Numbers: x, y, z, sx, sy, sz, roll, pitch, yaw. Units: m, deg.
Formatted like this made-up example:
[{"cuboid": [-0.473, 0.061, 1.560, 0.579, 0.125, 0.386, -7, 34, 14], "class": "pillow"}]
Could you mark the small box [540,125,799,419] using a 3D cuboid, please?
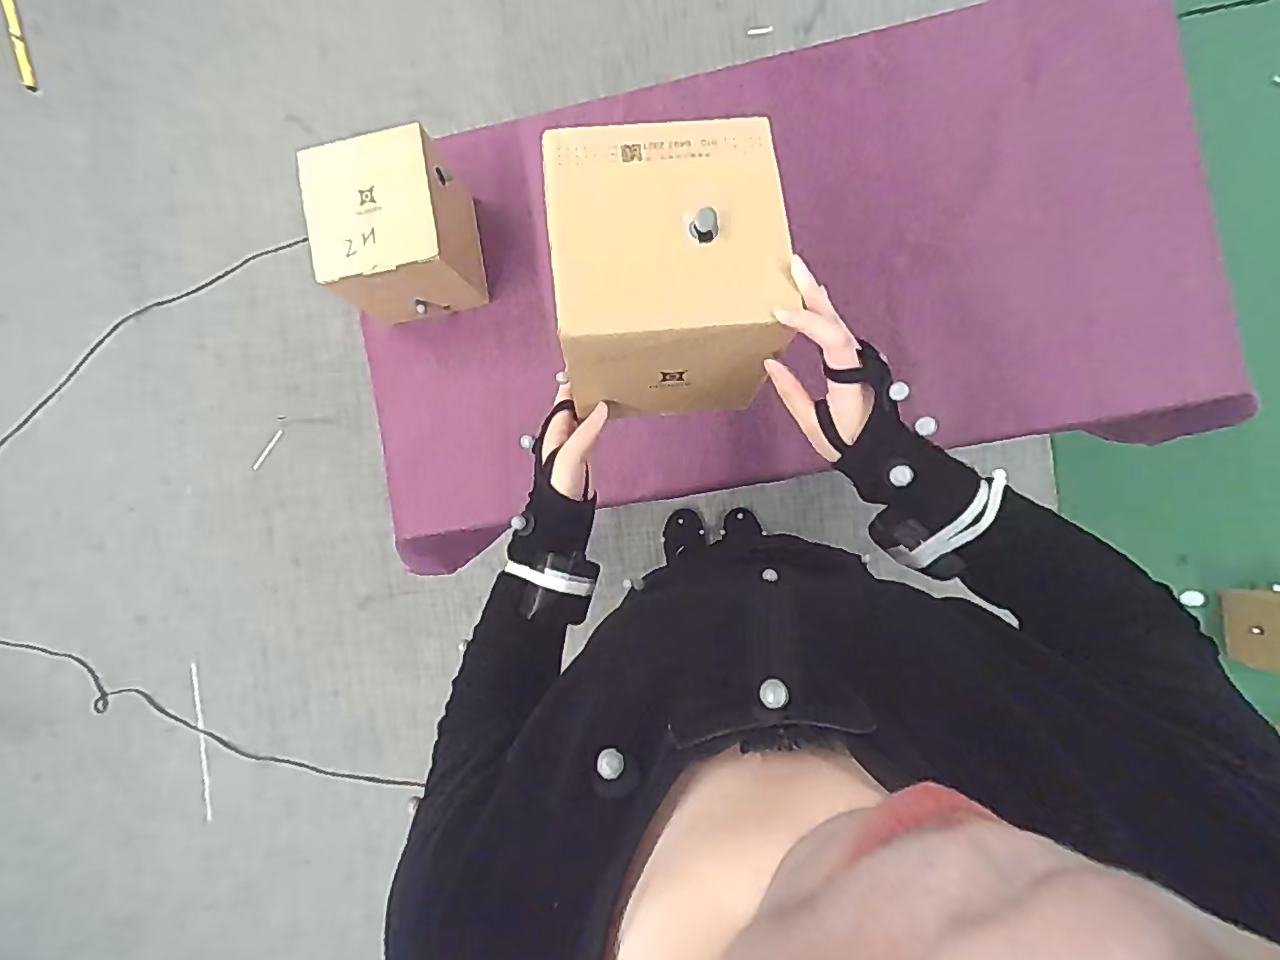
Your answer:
[{"cuboid": [0.014, -0.163, 0.451, 0.168, 0.179, 0.176, -5, 79, -3], "class": "small box"}]

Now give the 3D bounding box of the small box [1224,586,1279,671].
[{"cuboid": [1.552, 0.353, 1.276, 0.168, 0.176, 0.179, -4, 87, 6], "class": "small box"}]

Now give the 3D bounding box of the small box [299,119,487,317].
[{"cuboid": [-0.331, -0.349, 0.753, 0.168, 0.176, 0.179, -10, 89, 6], "class": "small box"}]
